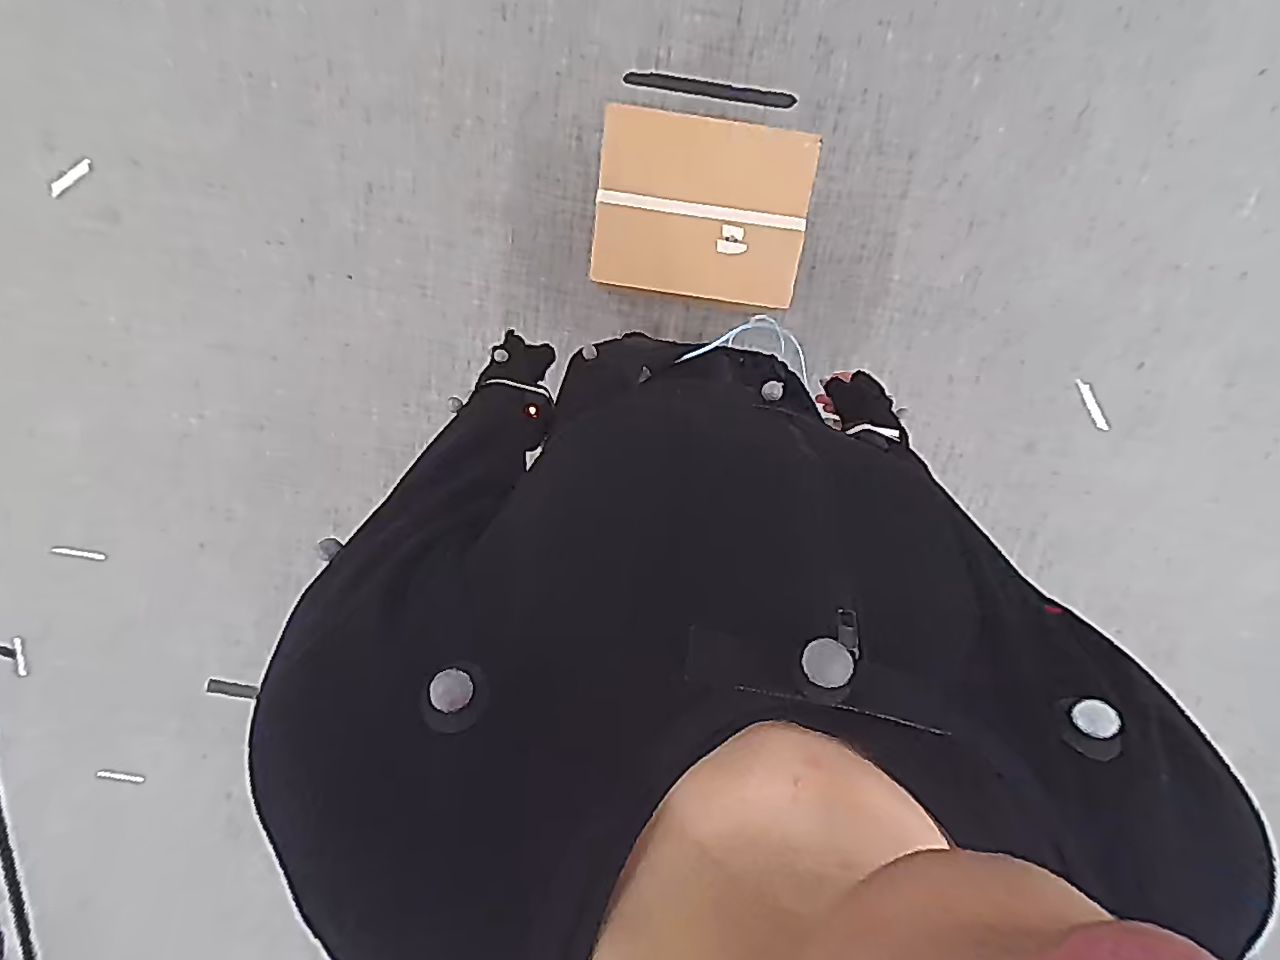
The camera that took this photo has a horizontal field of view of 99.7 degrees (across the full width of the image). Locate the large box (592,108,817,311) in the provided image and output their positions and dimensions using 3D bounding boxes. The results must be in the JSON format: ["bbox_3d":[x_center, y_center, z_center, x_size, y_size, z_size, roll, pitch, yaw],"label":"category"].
[{"bbox_3d":[0.118,-0.560,1.190,0.408,0.320,0.320,8,106,-2],"label":"large box"}]
